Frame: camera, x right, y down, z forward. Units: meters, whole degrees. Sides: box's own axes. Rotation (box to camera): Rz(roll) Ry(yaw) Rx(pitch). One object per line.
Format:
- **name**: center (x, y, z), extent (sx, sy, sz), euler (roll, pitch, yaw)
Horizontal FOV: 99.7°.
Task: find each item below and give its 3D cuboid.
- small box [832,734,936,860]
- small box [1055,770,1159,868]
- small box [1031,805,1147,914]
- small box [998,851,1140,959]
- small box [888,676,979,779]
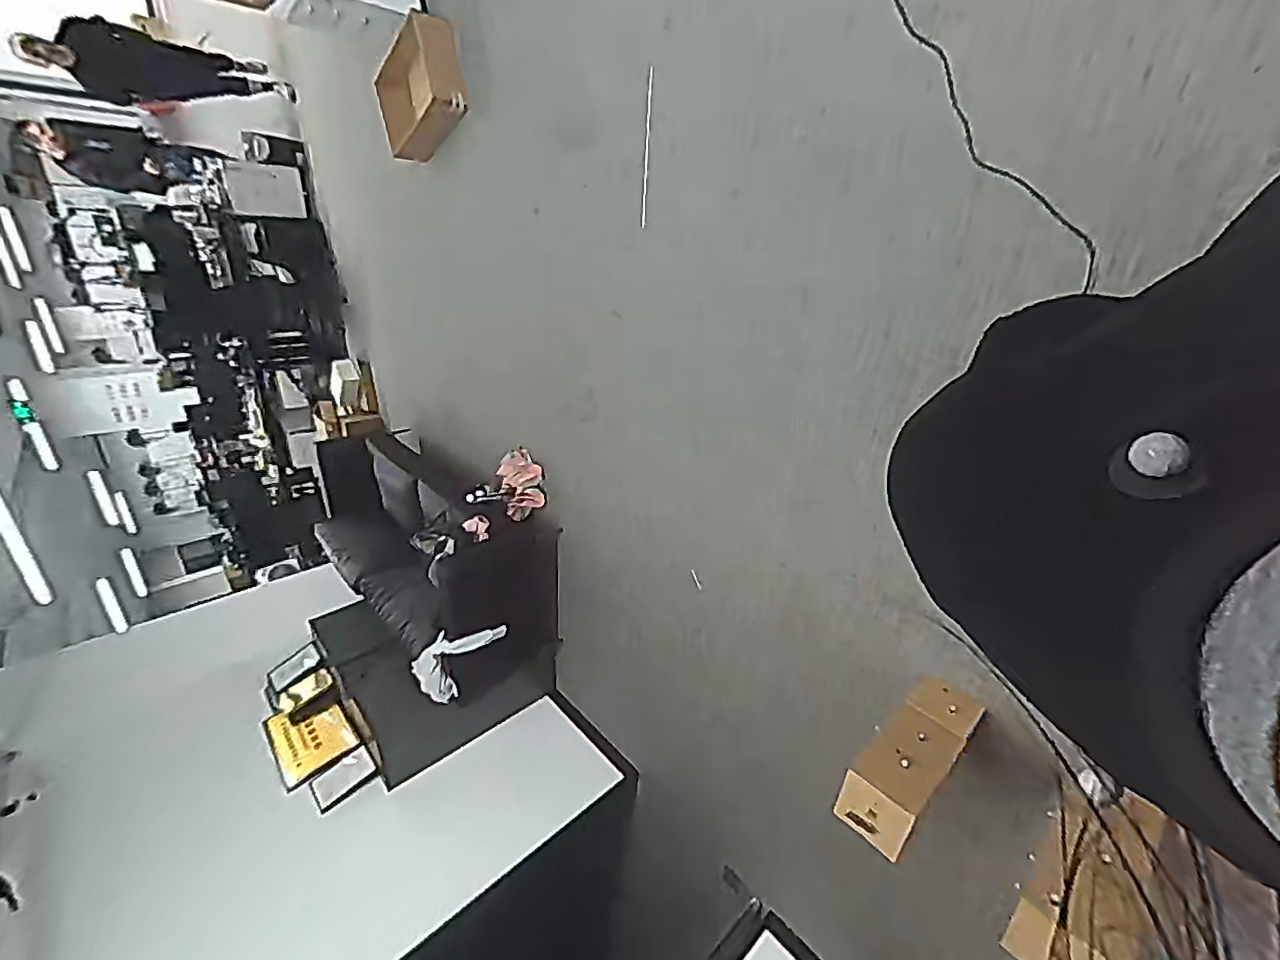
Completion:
- **small box**: center (0.616, 0.788, 1.361), extent (0.168, 0.176, 0.179), euler (28, 123, 39)
- **small box**: center (1.124, 0.850, 1.321), extent (0.179, 0.176, 0.168), euler (21, 119, 41)
- **small box**: center (1.001, 0.885, 1.217), extent (0.179, 0.176, 0.168), euler (20, 119, 42)
- **small box**: center (0.878, 0.910, 1.108), extent (0.179, 0.176, 0.168), euler (23, 122, 41)
- **small box**: center (0.855, 0.709, 1.572), extent (0.168, 0.176, 0.179), euler (28, 124, 39)
